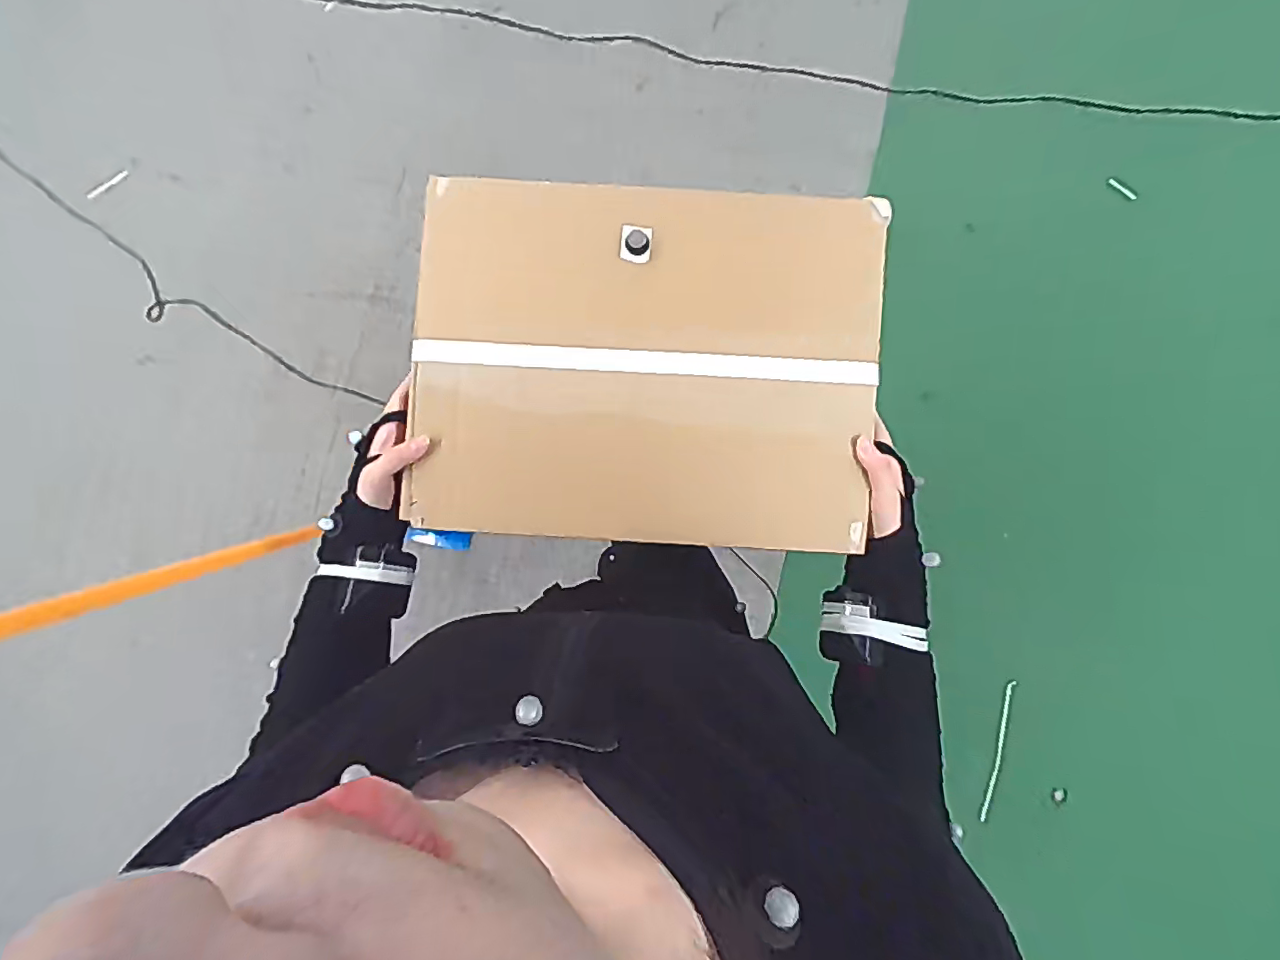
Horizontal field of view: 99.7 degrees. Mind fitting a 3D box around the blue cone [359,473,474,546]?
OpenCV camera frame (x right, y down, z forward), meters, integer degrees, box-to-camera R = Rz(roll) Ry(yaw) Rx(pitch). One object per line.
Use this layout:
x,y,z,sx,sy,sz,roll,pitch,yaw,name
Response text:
-0.568,0.081,1.340,0.192,0.380,0.193,10,89,2,blue cone
